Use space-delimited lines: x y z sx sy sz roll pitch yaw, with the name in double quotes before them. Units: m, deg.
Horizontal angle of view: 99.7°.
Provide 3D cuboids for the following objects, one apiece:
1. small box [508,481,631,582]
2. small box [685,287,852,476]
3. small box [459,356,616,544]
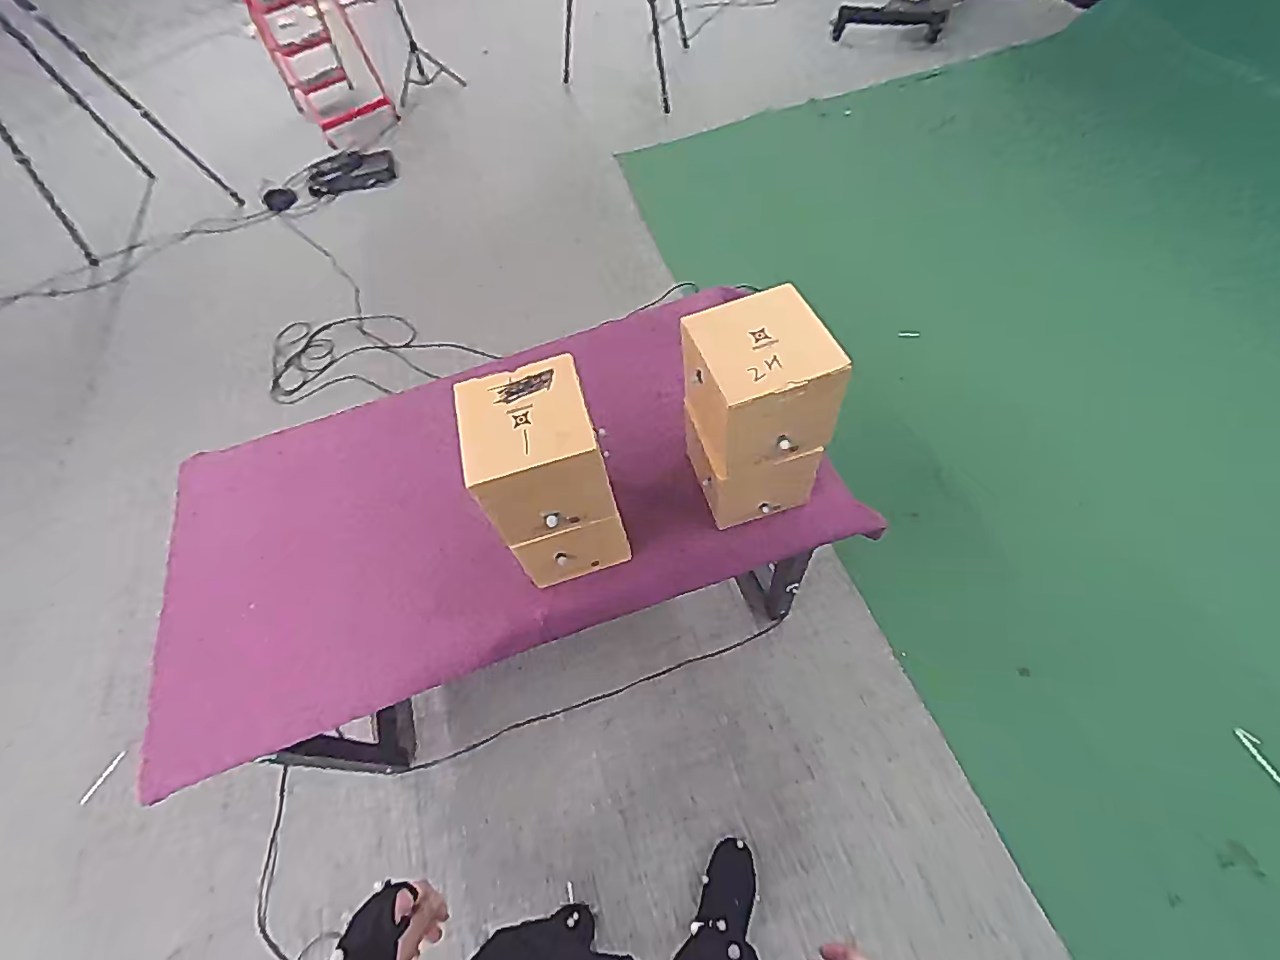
"small box" -0.121 0.053 0.892 0.168 0.176 0.179 -17 57 -3
"small box" 0.170 -0.136 0.774 0.168 0.176 0.179 -18 58 -3
"small box" -0.139 -0.037 0.756 0.168 0.176 0.179 -16 57 -2
